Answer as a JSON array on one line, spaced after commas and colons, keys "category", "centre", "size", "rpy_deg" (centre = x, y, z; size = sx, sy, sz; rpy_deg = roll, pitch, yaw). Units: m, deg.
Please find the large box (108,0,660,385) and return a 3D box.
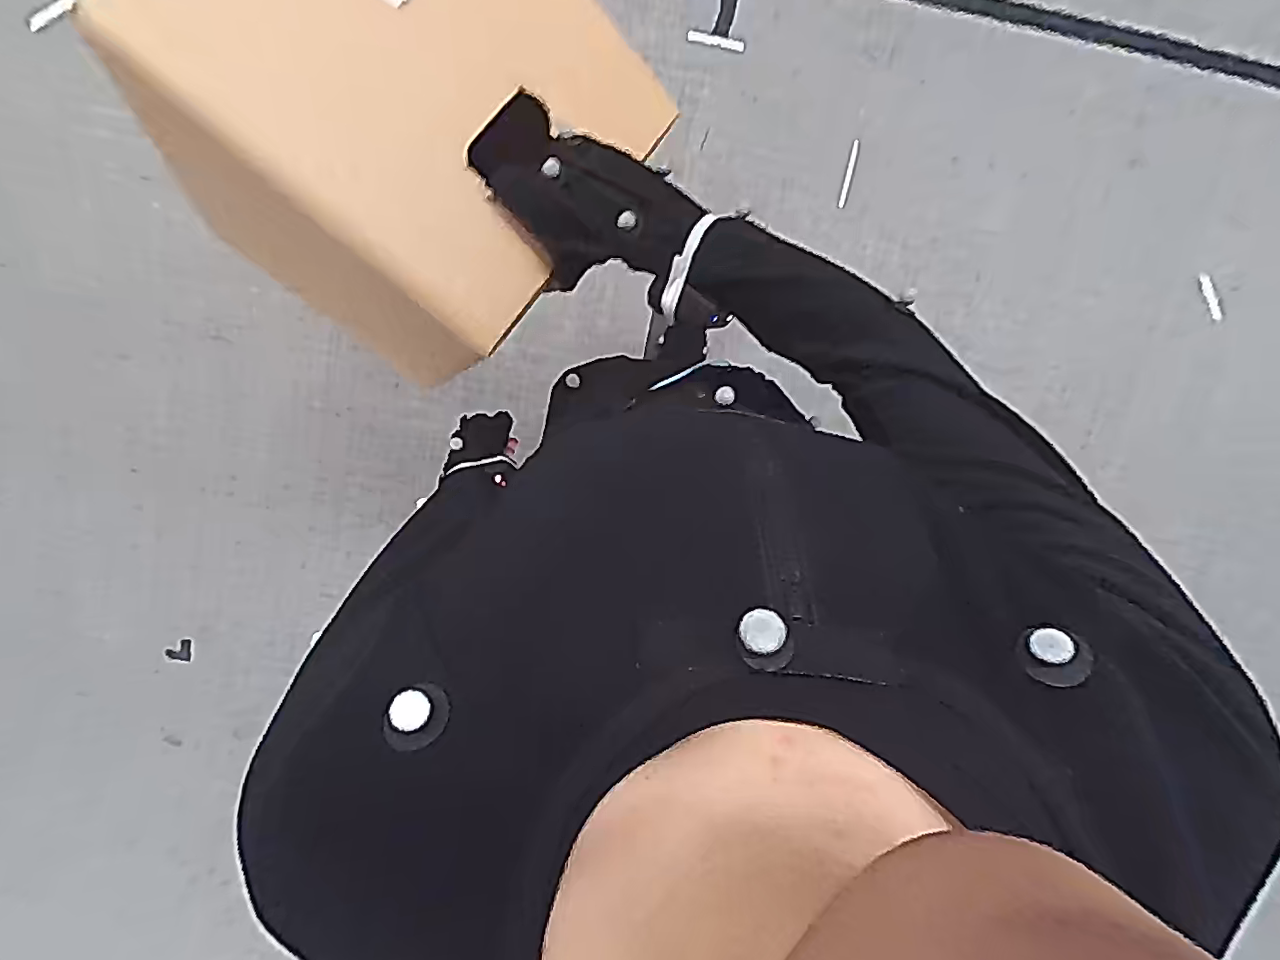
[{"category": "large box", "centre": [-0.254, -0.335, 0.610], "size": [0.320, 0.408, 0.320], "rpy_deg": [40, 76, -25]}]
